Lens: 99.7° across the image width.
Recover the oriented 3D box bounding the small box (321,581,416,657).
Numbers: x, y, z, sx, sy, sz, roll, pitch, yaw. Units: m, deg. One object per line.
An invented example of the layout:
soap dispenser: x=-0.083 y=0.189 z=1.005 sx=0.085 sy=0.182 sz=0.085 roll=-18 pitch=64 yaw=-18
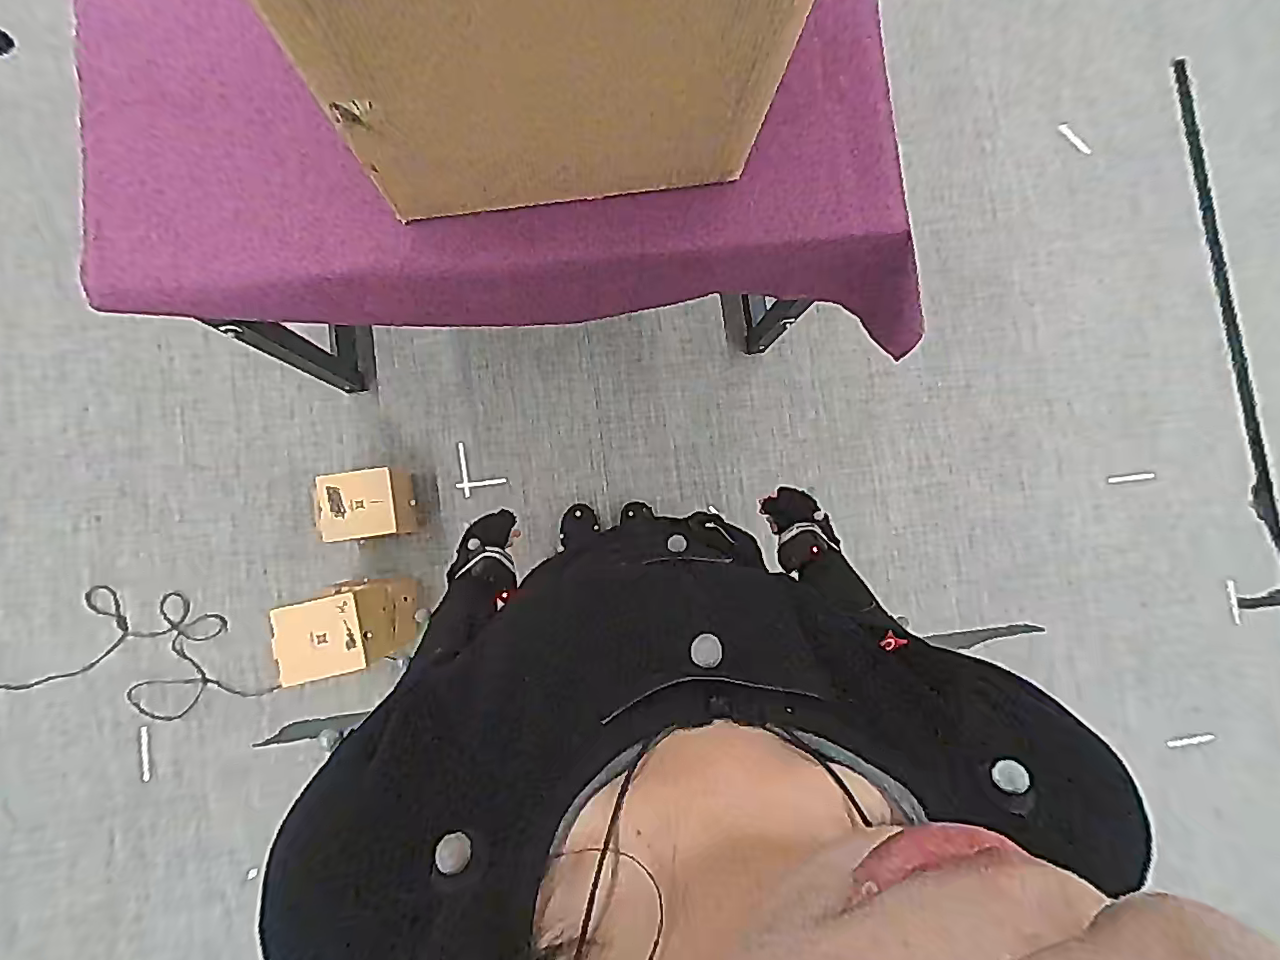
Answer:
small box: x=-0.679 y=0.349 z=1.369 sx=0.179 sy=0.176 sz=0.168 roll=-2 pitch=85 yaw=-4

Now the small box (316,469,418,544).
small box: x=-0.693 y=0.071 z=1.386 sx=0.179 sy=0.176 sz=0.168 roll=-8 pitch=87 yaw=-6

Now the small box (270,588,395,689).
small box: x=-0.677 y=0.344 z=1.205 sx=0.179 sy=0.176 sz=0.168 roll=-12 pitch=86 yaw=-5
